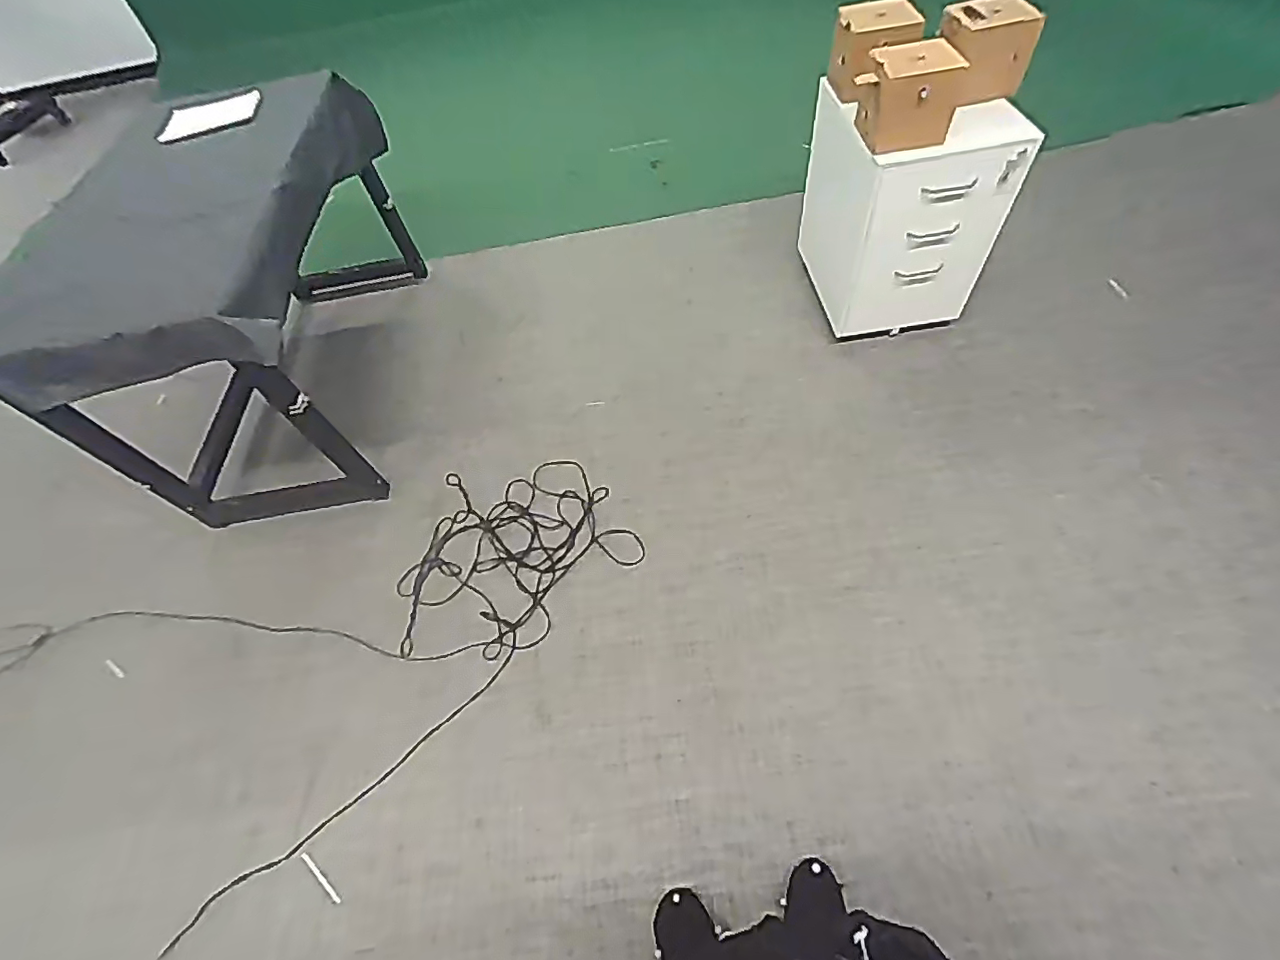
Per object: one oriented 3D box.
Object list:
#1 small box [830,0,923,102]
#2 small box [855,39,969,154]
[{"bbox_3d":[0.623,-1.149,1.456,0.179,0.176,0.168,-7,58,2],"label":"small box"},{"bbox_3d":[0.644,-0.920,1.304,0.179,0.176,0.168,-7,56,3],"label":"small box"}]
